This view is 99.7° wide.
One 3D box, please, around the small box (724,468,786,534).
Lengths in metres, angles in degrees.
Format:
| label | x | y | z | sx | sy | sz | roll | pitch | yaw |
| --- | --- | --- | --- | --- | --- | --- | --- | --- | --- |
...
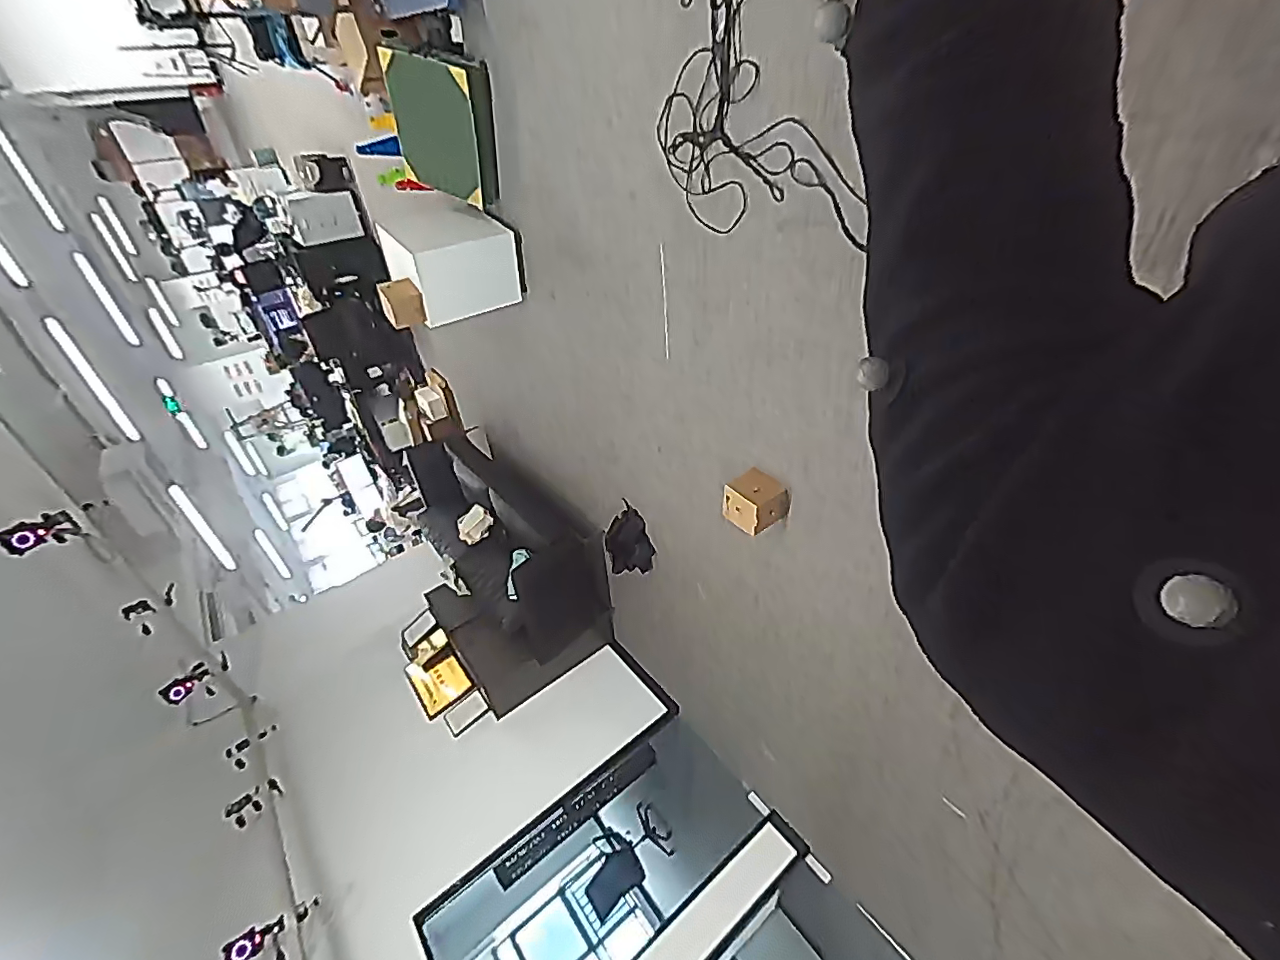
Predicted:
| label | x | y | z | sx | sy | sz | roll | pitch | yaw |
| --- | --- | --- | --- | --- | --- | --- | --- | --- | --- |
| small box | 0.458 | 0.075 | 2.156 | 0.179 | 0.176 | 0.168 | 37 | 143 | 38 |
